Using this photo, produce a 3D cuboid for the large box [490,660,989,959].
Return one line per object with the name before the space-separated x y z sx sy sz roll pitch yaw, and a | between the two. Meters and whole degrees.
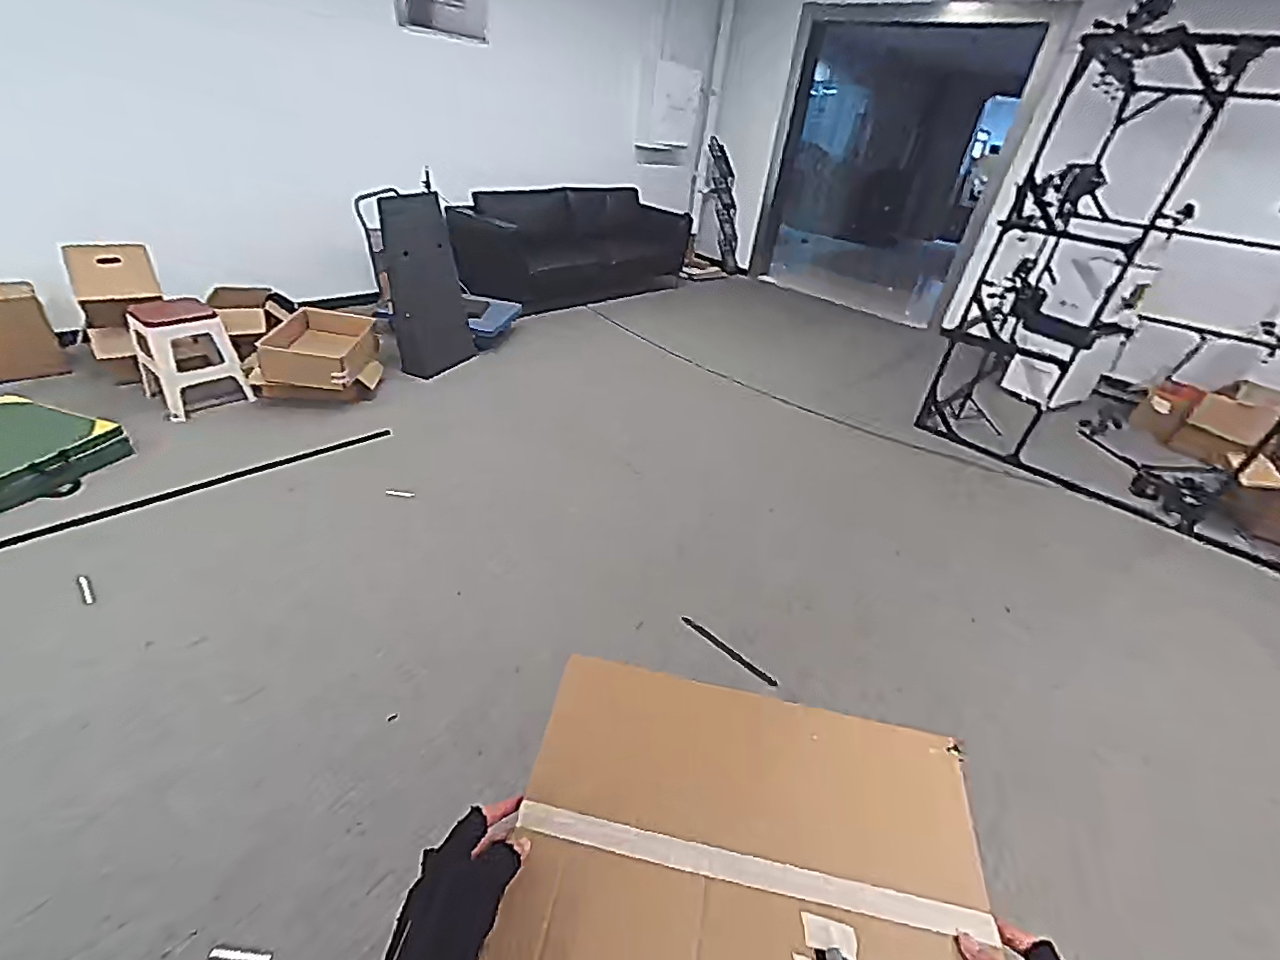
large box | 0.085 0.442 0.583 0.408 0.320 0.320 11 45 5
